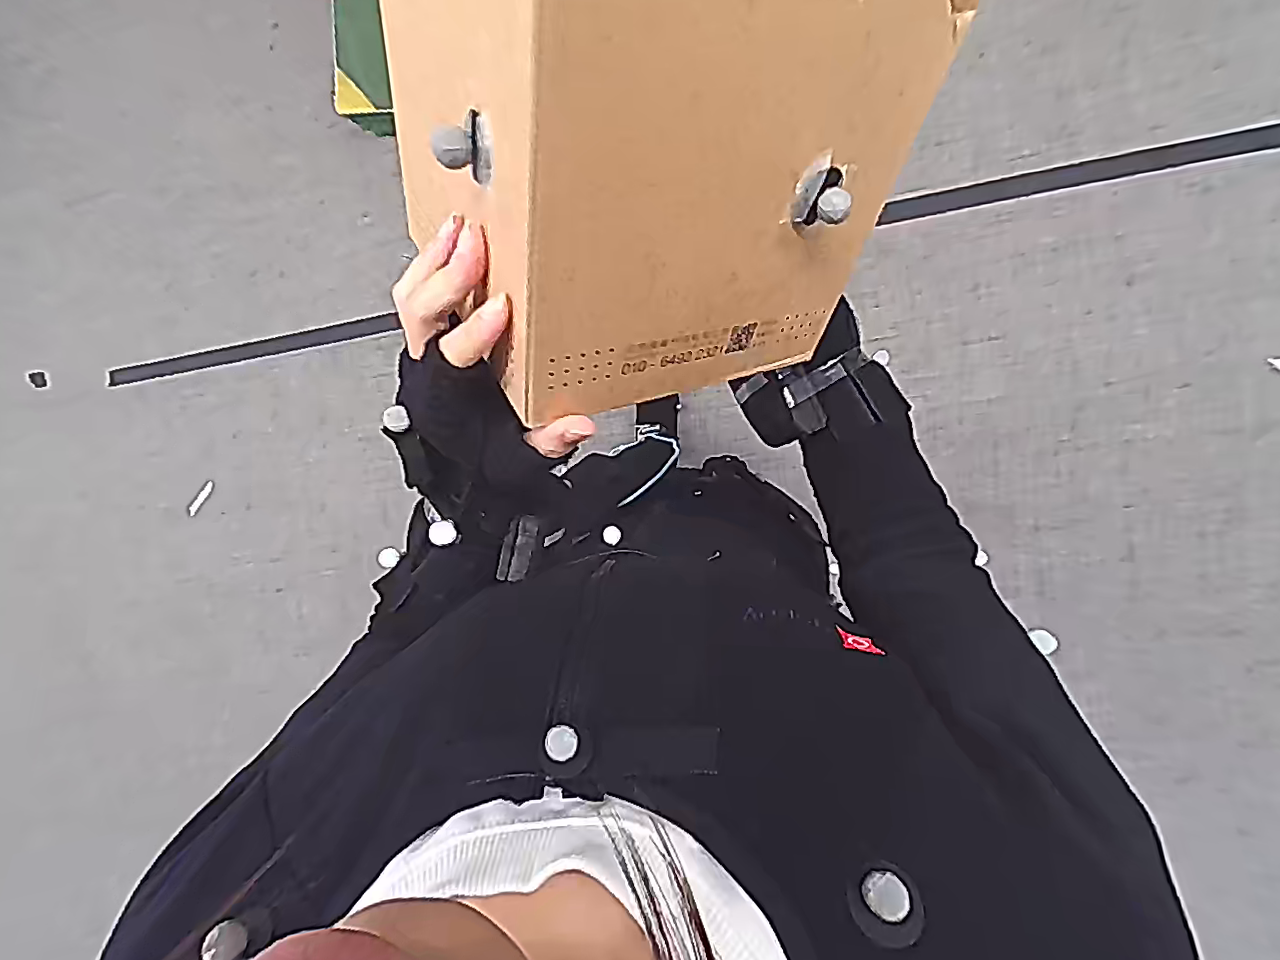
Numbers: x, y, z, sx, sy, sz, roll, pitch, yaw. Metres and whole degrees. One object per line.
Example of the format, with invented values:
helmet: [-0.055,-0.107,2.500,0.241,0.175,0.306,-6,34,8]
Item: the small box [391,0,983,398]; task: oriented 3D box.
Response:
small box: [-0.003,-0.154,0.251,0.179,0.168,0.176,54,146,31]
